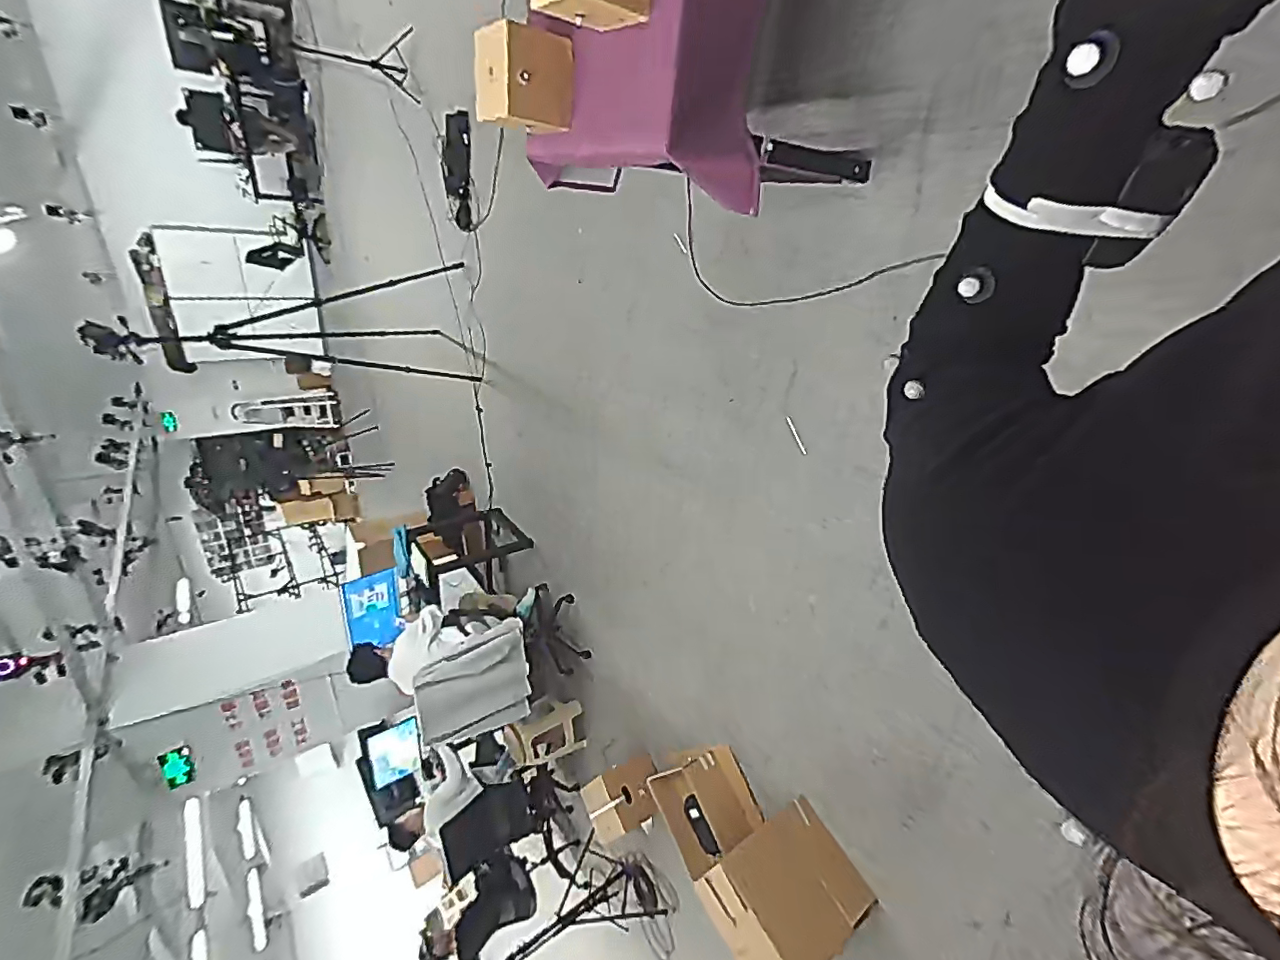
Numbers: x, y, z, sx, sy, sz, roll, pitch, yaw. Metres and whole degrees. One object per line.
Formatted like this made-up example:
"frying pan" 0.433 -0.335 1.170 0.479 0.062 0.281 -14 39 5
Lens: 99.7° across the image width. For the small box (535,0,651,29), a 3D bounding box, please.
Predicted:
"small box" -0.080 -0.966 0.997 0.168 0.176 0.179 36 128 42
